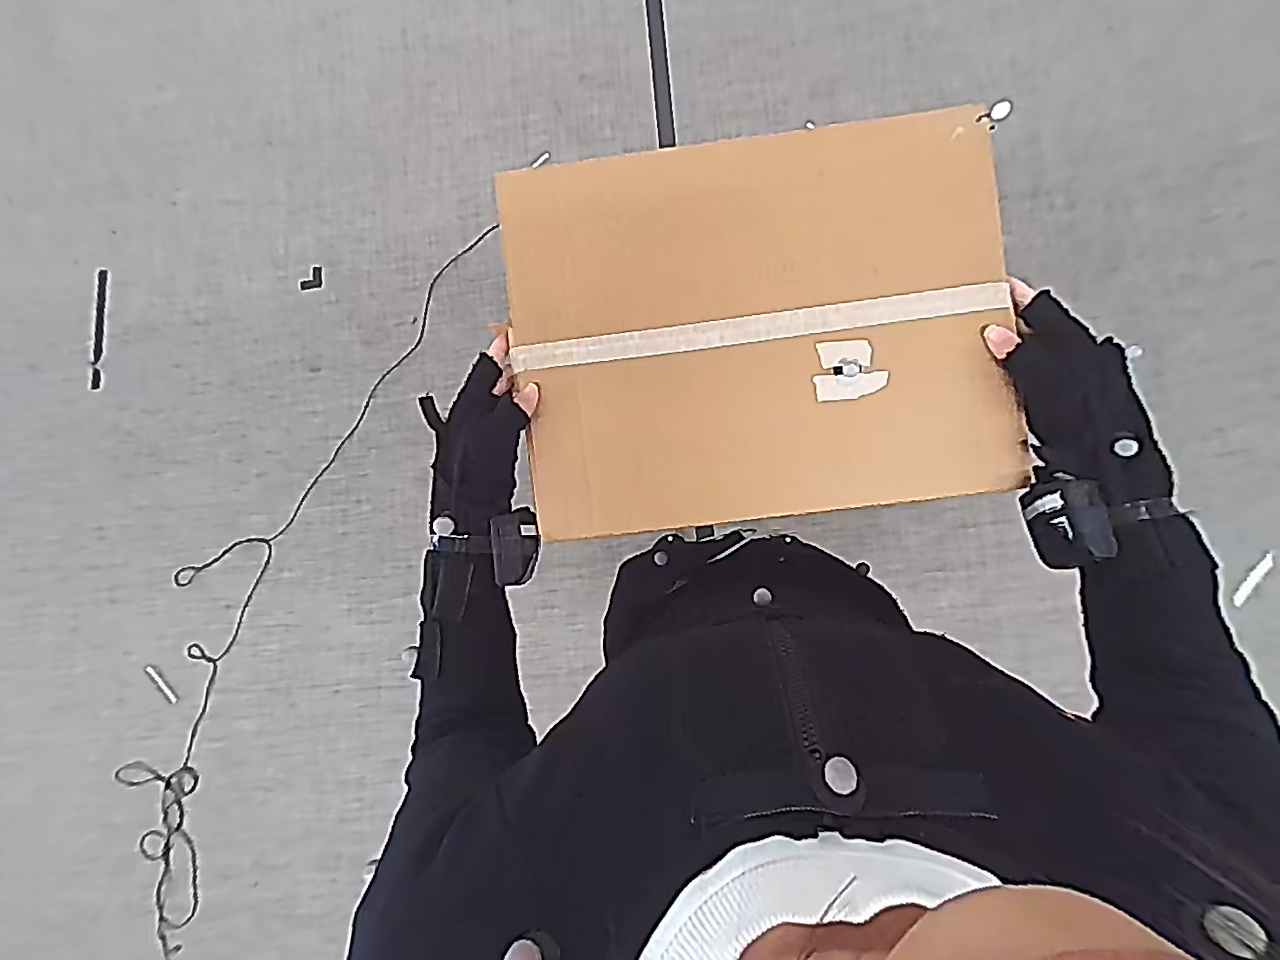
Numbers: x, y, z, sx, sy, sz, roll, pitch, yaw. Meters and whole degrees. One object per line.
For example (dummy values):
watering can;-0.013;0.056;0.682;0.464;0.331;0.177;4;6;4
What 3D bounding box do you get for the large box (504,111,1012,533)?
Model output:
large box;0.100;-0.133;0.607;0.408;0.320;0.320;-7;91;1
